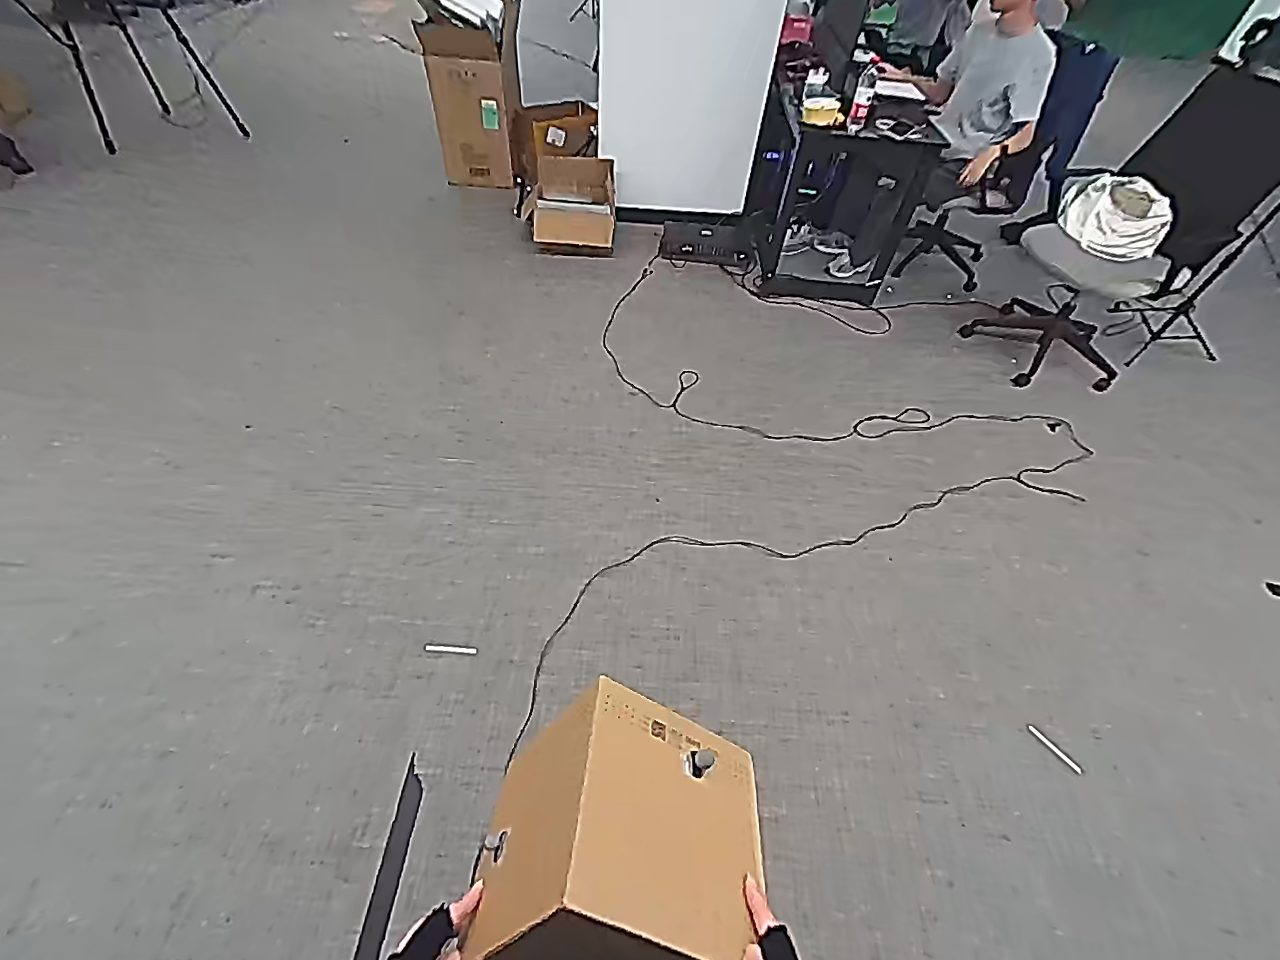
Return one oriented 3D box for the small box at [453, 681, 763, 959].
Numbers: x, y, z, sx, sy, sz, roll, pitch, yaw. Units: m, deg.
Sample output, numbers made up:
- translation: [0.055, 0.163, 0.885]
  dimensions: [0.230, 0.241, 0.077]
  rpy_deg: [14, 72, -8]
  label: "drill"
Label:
- translation: [-0.019, 0.306, 0.448]
  dimensions: [0.168, 0.179, 0.176]
  rpy_deg: [33, 28, -14]
  label: "small box"
